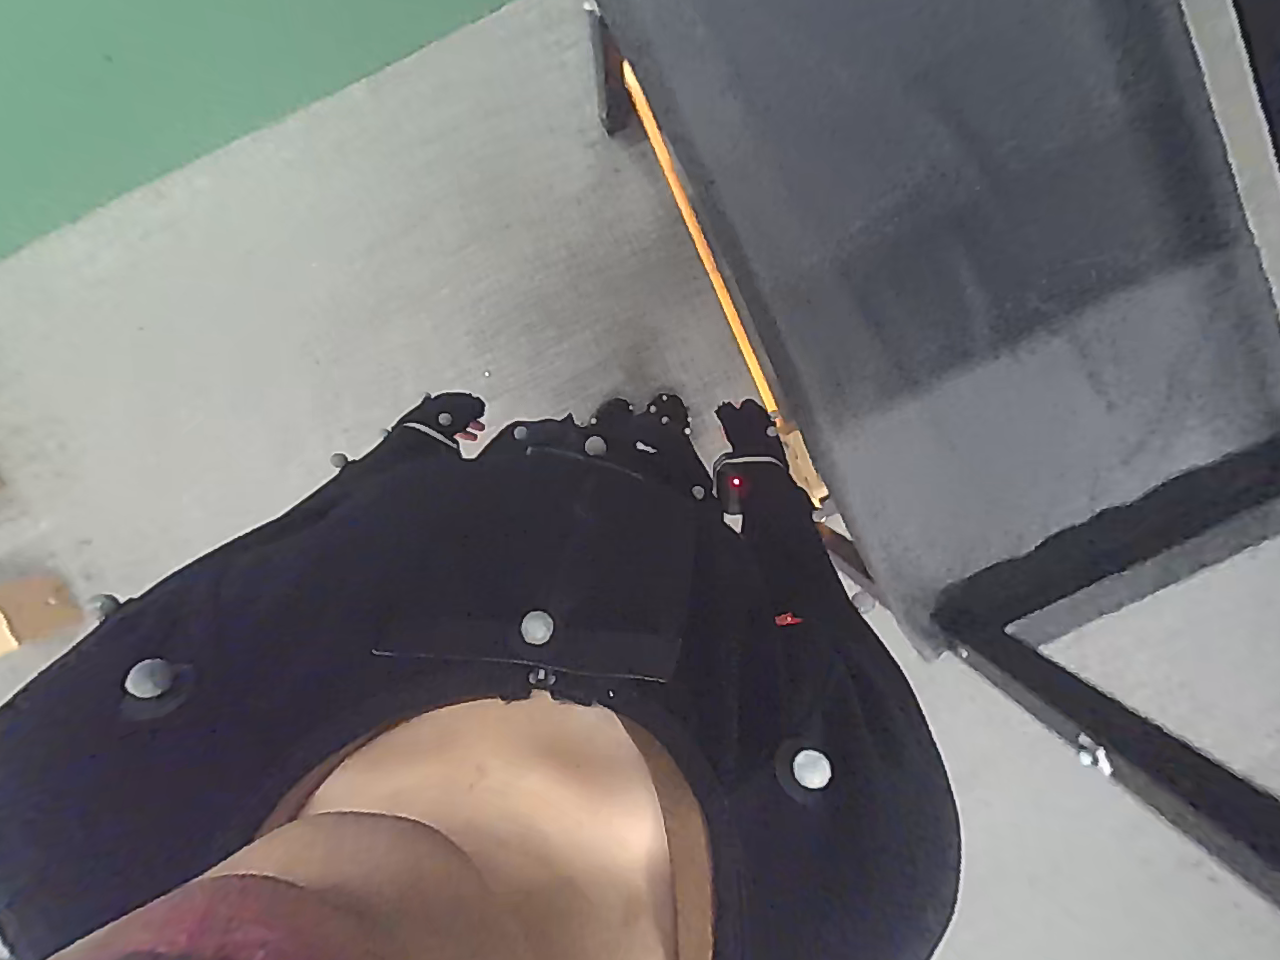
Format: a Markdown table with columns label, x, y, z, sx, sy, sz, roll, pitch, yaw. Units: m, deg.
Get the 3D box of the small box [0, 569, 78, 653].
| label | x | y | z | sx | sy | sz | roll | pitch | yaw |
| --- | --- | --- | --- | --- | --- | --- | --- | --- | --- |
| small box | -1.642 | 0.353 | 1.396 | 0.179 | 0.176 | 0.168 | -24 | 99 | 1 |
